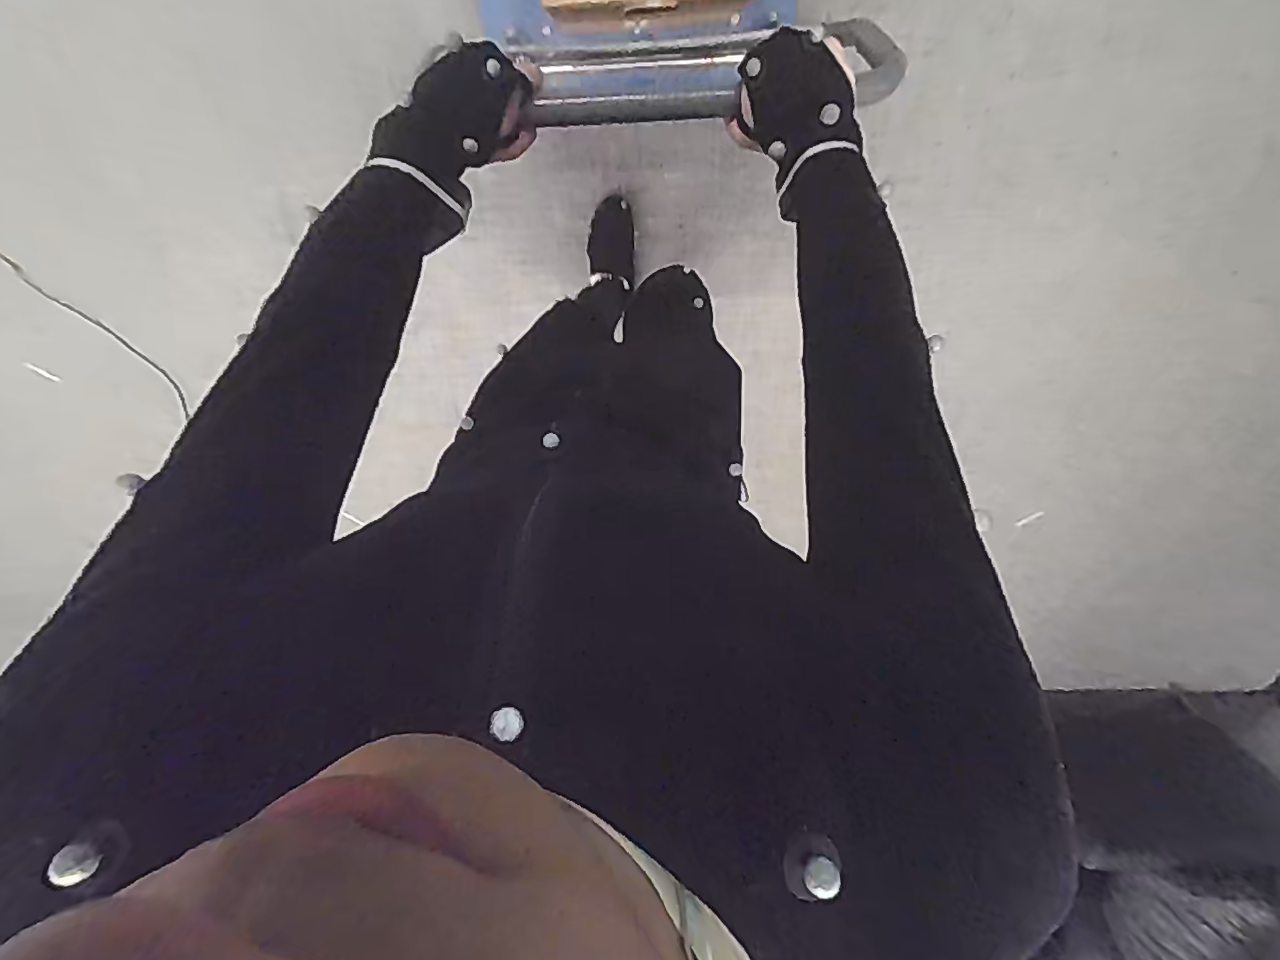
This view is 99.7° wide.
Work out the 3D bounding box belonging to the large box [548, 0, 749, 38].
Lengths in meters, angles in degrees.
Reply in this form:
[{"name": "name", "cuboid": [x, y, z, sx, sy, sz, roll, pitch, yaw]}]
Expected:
[{"name": "large box", "cuboid": [0.010, -0.928, 0.783, 0.320, 0.320, 0.408, -3, 123, 2]}]
